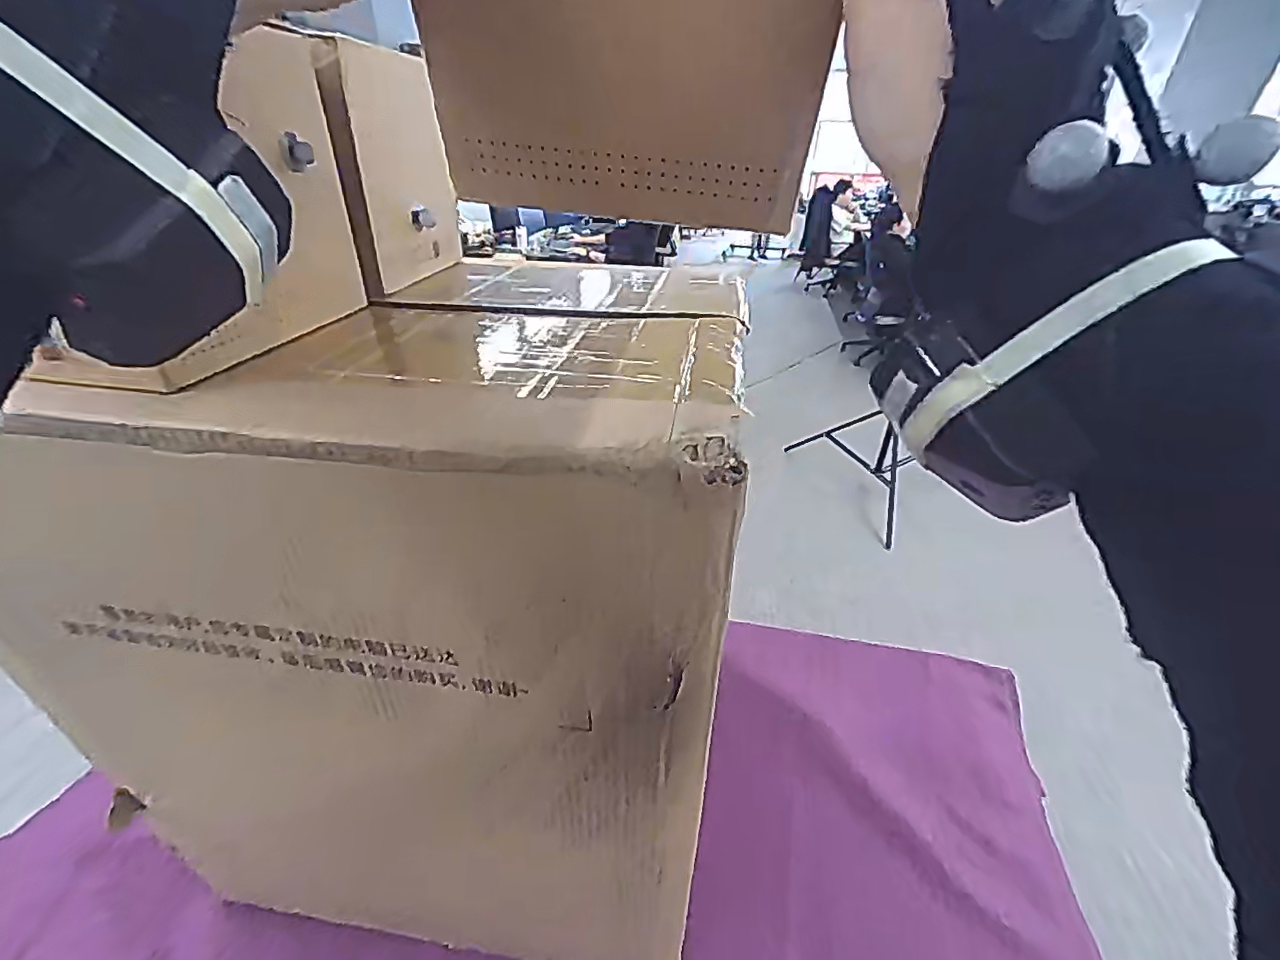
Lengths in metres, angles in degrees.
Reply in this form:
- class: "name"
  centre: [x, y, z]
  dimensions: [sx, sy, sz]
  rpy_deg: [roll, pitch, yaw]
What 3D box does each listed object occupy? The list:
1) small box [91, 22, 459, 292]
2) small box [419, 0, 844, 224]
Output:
- class: "small box"
  centre: [-0.276, -0.264, 0.461]
  dimensions: [0.179, 0.176, 0.168]
  rpy_deg: [5, 32, 4]
- class: "small box"
  centre: [0.007, -0.246, 0.260]
  dimensions: [0.179, 0.176, 0.168]
  rpy_deg: [9, 52, 7]
